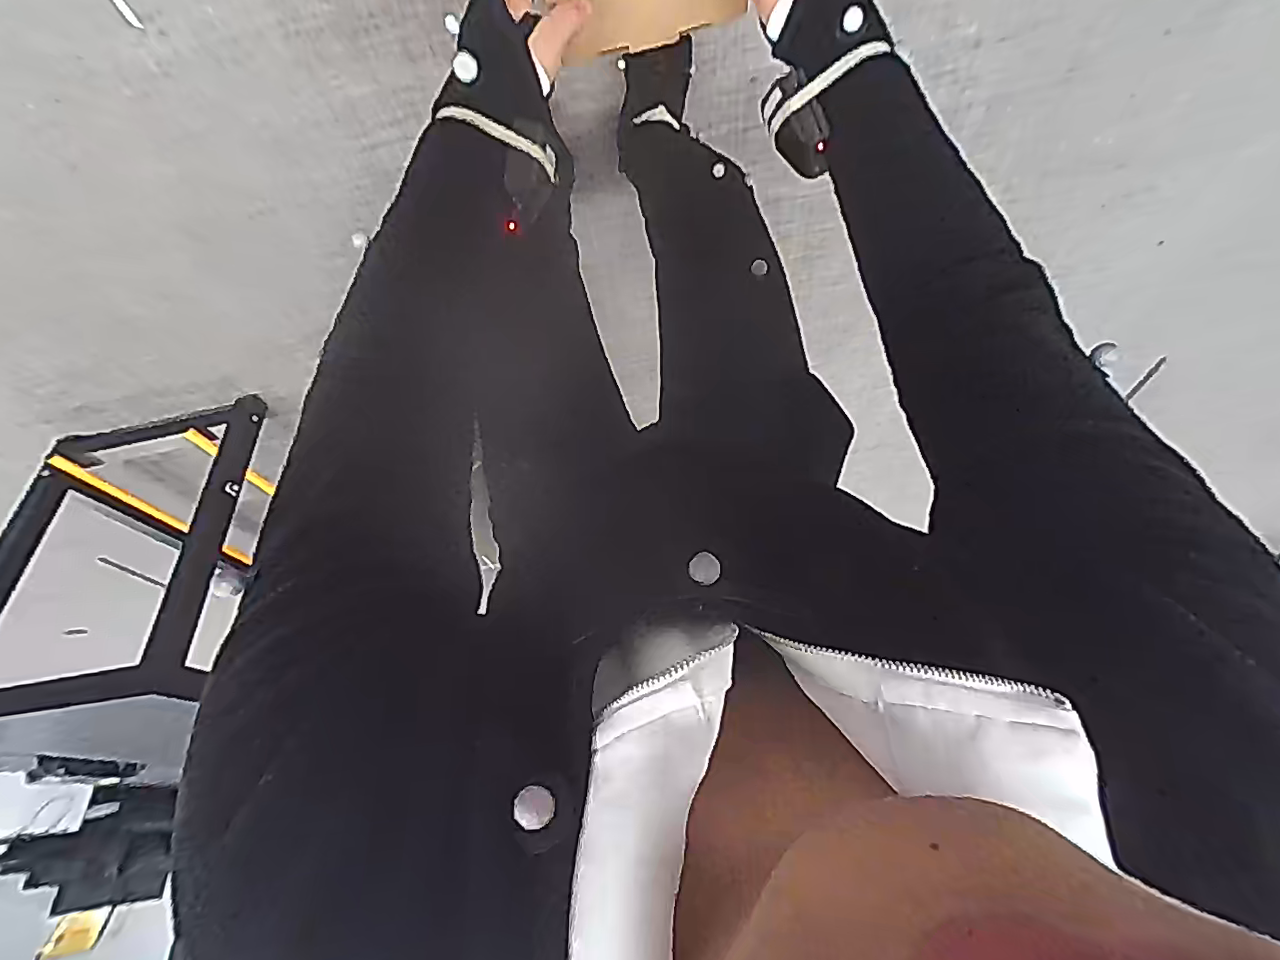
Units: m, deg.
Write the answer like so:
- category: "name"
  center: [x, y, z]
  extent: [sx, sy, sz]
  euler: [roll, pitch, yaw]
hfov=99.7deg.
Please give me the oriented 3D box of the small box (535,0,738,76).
- category: "small box"
  center: [-0.017, -0.480, 0.436]
  extent: [0.168, 0.176, 0.179]
  euler: [-11, 151, 4]
